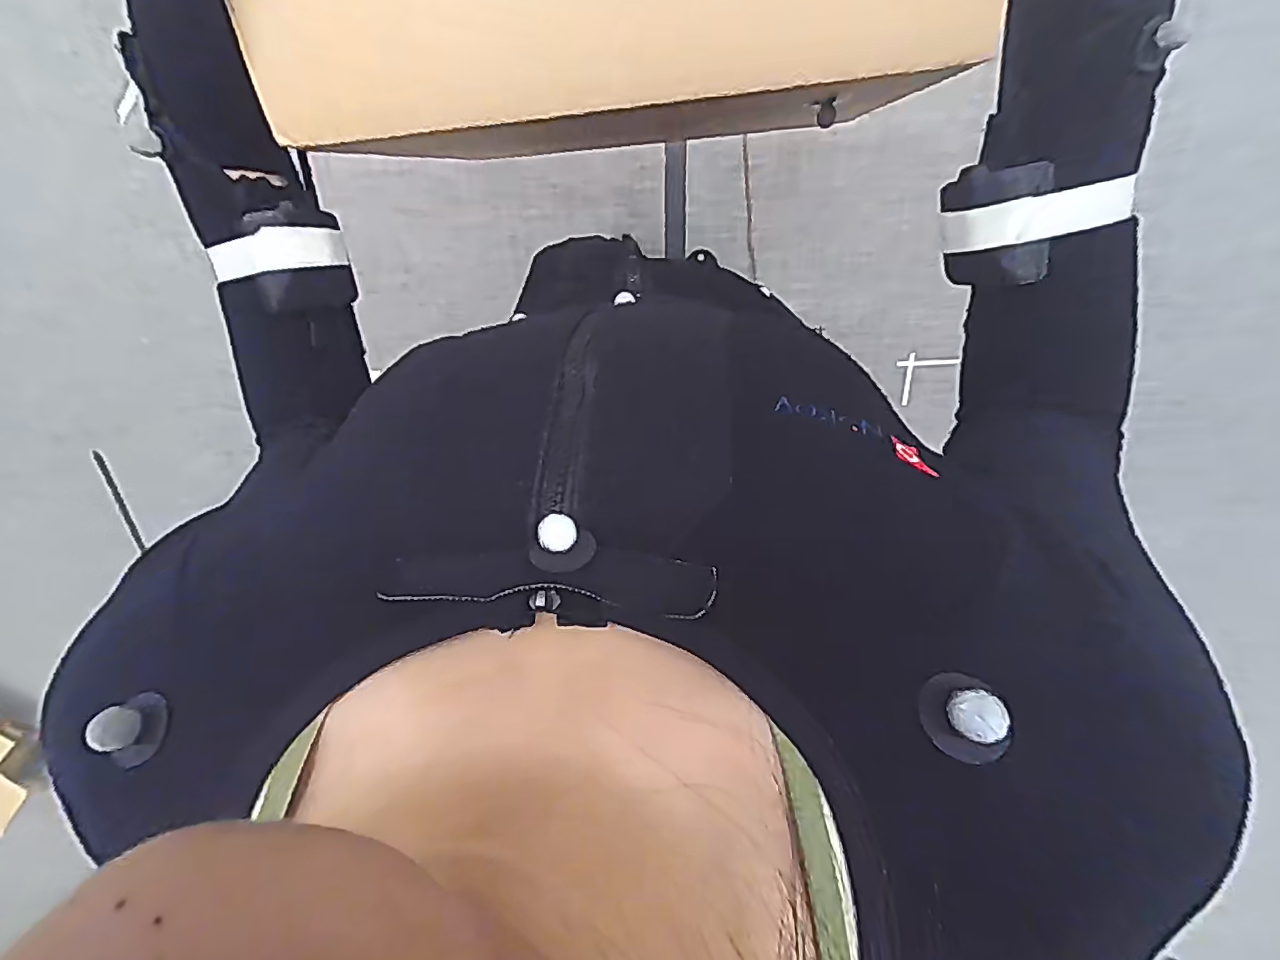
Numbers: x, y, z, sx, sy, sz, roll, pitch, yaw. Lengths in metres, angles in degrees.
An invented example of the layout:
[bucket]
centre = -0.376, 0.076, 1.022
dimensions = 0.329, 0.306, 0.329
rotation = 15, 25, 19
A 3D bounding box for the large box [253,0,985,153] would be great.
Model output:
[large box]
centre = -0.014, -0.425, 0.368
dimensions = 0.408, 0.320, 0.320
rotation = -1, 119, 9
